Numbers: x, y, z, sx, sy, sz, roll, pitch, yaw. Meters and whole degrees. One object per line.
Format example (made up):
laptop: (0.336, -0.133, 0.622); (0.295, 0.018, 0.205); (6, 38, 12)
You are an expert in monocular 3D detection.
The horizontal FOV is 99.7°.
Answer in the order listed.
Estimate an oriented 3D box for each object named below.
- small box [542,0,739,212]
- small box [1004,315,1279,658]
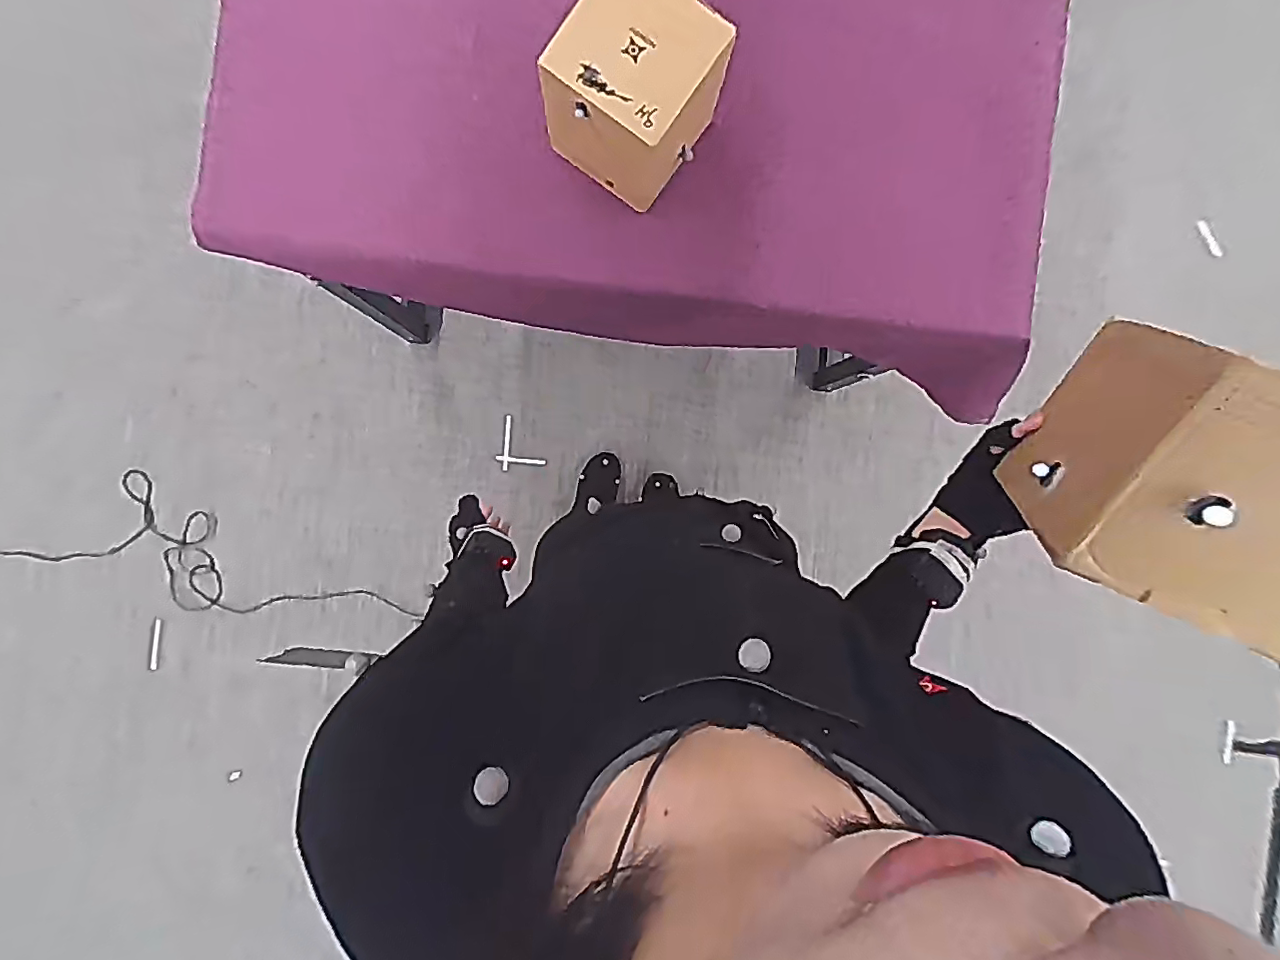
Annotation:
small box: (-0.005, -0.494, 0.695); (0.168, 0.176, 0.179); (35, 88, -3)
small box: (0.421, -0.007, 0.398); (0.168, 0.179, 0.176); (25, 120, 7)
